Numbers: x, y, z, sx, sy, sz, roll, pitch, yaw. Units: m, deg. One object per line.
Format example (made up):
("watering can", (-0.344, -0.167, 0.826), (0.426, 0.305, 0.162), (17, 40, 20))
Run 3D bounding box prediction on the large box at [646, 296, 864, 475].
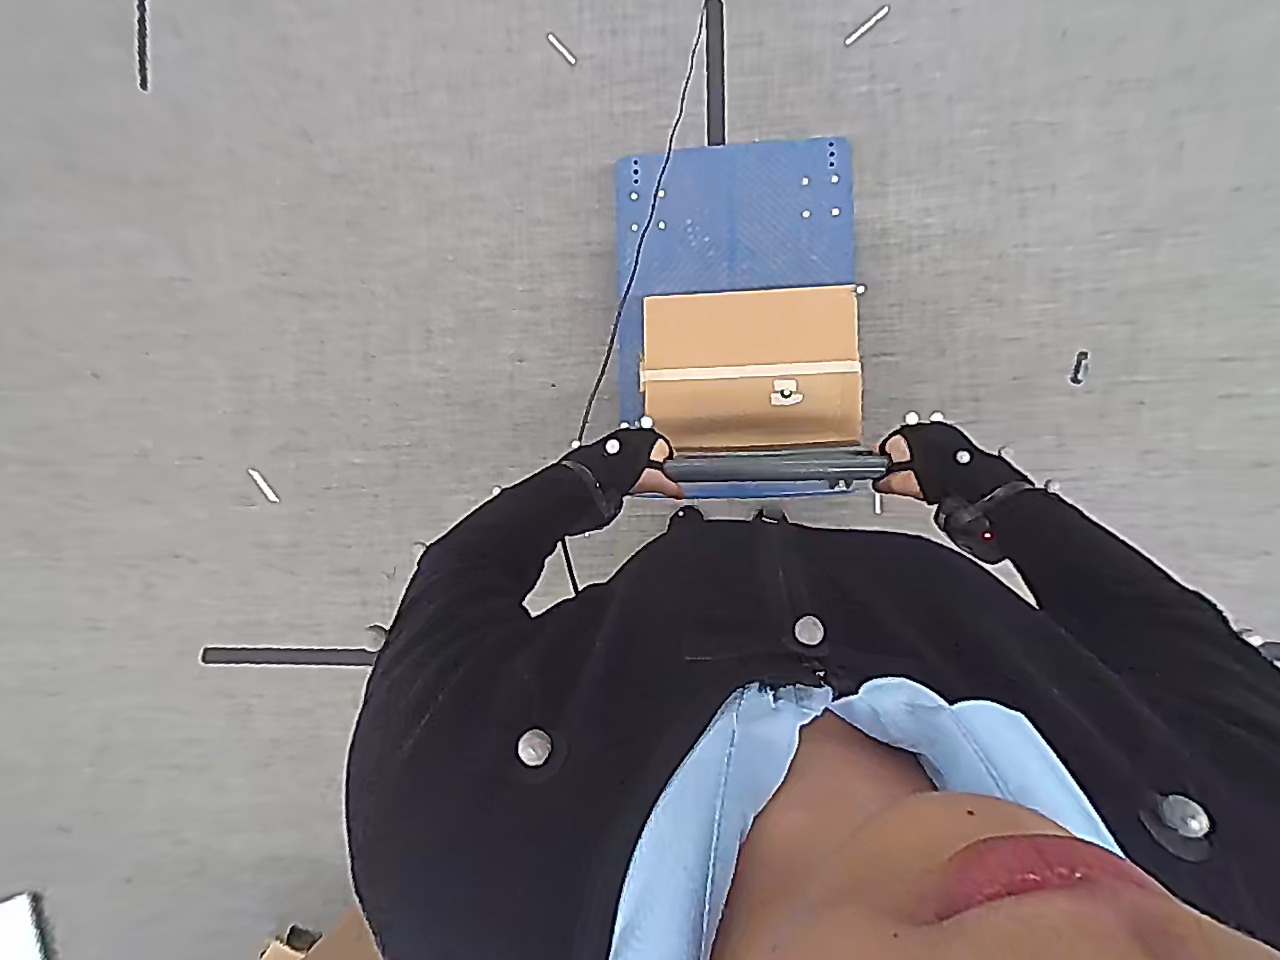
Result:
("large box", (0.227, -0.179, 1.169), (0.408, 0.320, 0.320), (-1, 89, 6))
